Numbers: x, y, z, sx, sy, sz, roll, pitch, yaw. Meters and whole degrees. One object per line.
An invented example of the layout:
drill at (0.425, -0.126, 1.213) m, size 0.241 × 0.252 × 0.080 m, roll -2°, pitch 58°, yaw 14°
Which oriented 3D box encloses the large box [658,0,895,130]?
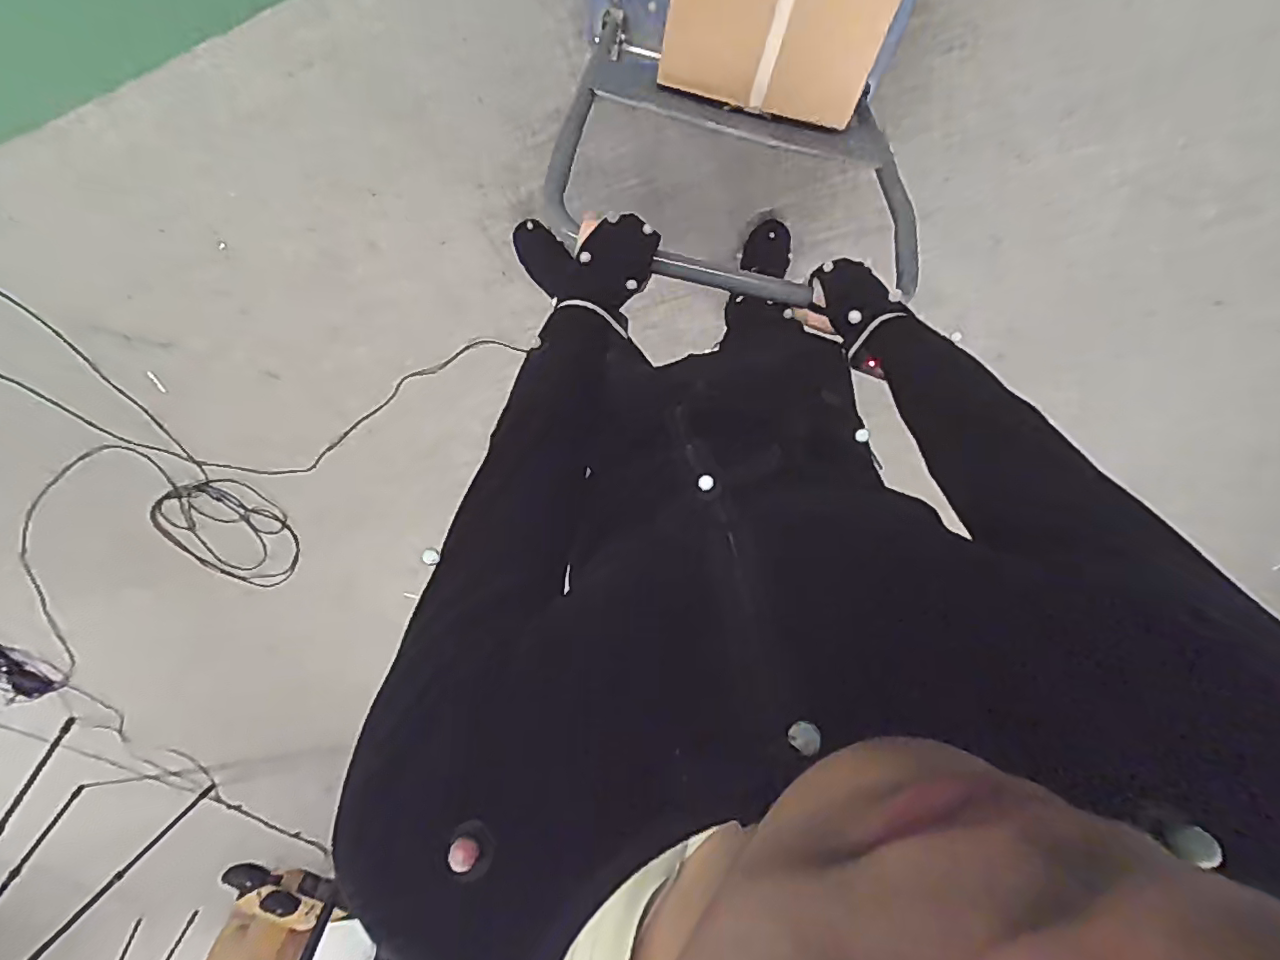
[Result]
large box at (0.225, -0.827, 0.810) m, size 0.320 × 0.320 × 0.408 m, roll 11°, pitch 140°, yaw -5°
